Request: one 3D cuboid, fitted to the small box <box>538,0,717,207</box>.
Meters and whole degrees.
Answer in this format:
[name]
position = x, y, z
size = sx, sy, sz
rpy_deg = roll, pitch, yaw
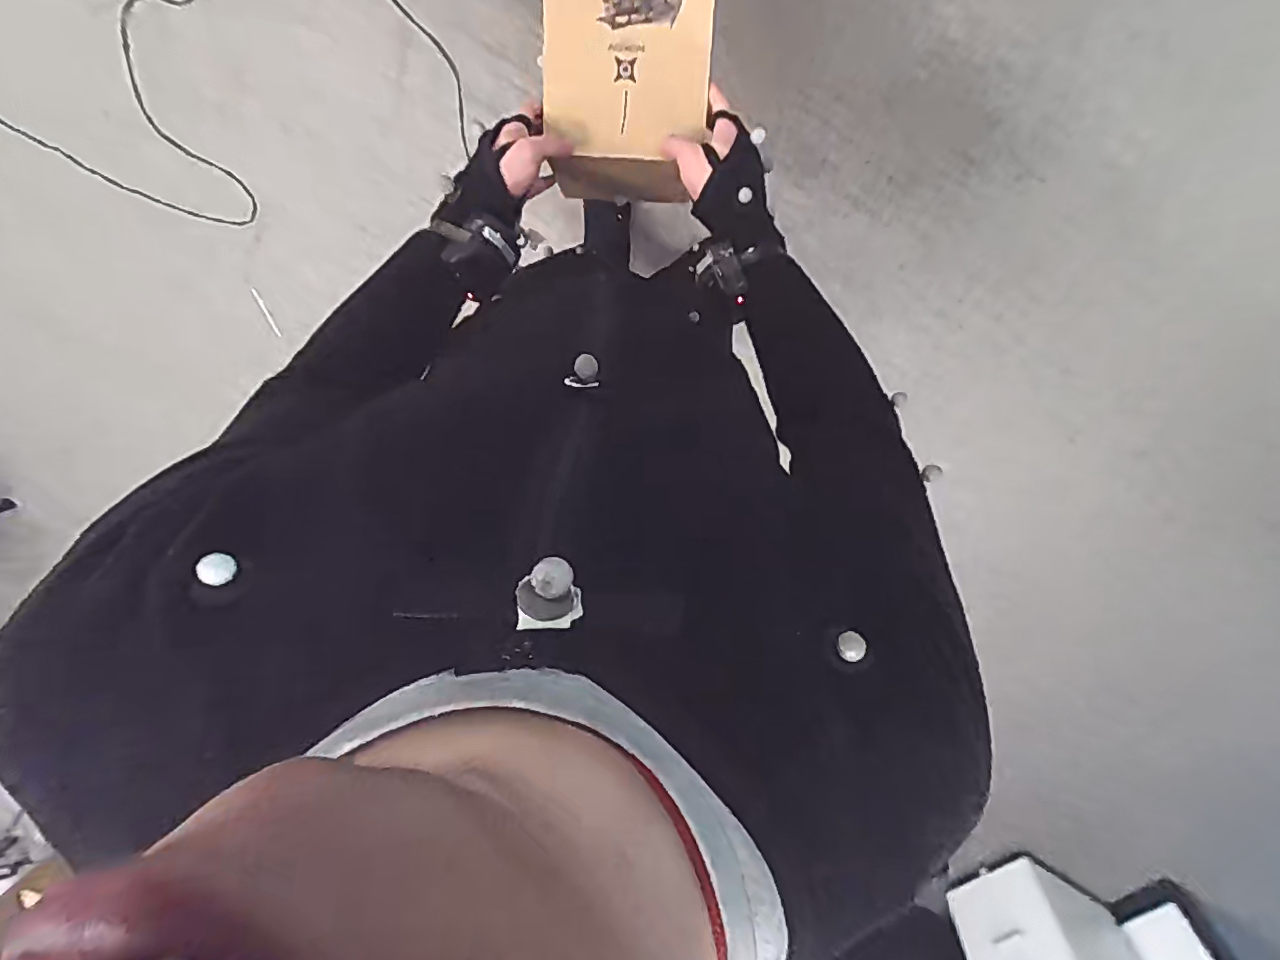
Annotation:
[small box]
position = -0.015, -0.420, 0.590
size = 0.168, 0.176, 0.179
rpy_deg = 3, 103, -1
